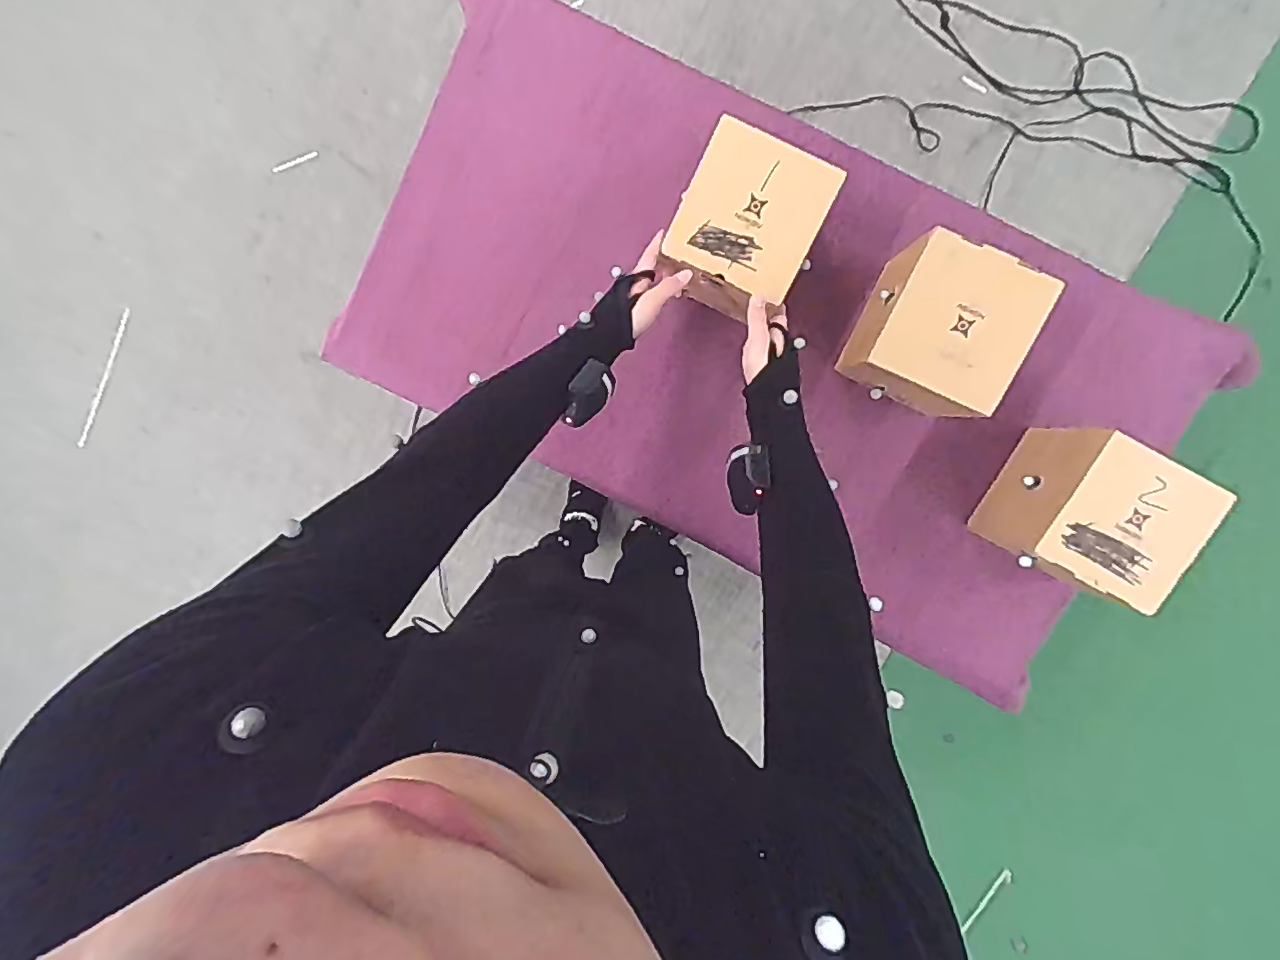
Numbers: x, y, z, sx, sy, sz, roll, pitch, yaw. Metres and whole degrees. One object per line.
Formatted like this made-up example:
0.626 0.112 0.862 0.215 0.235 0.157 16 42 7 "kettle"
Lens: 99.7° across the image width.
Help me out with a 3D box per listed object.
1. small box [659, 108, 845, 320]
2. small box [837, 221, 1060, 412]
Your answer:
0.139 -0.336 0.726 0.168 0.176 0.179 27 98 0 "small box"
0.392 -0.204 0.726 0.168 0.176 0.179 26 99 1 "small box"
